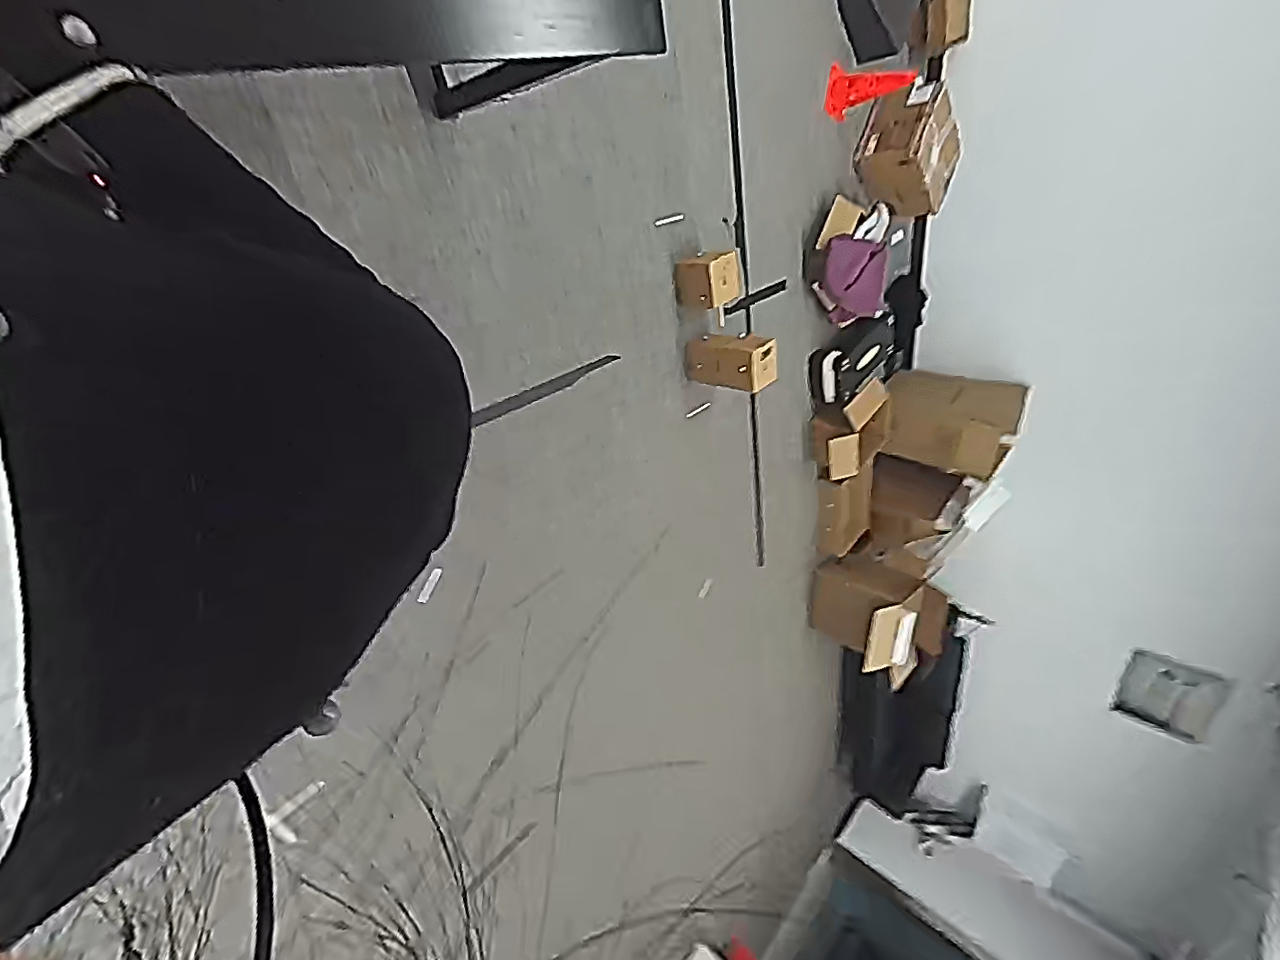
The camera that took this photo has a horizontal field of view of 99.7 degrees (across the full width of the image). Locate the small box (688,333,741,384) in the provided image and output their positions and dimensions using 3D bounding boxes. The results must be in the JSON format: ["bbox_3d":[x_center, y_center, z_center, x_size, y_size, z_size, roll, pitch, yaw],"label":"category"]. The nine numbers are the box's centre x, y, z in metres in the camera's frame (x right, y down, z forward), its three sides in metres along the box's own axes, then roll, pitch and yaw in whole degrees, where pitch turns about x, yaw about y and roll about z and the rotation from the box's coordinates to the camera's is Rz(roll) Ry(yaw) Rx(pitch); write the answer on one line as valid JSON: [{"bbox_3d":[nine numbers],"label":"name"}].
[{"bbox_3d":[0.319,-0.522,2.309,0.179,0.176,0.168,-32,127,-34],"label":"small box"}]

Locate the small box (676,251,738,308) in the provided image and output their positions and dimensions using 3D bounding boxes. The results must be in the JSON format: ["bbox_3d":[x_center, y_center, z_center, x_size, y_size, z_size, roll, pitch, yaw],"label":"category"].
[{"bbox_3d":[0.264,-0.796,2.135,0.168,0.176,0.179,-37,129,-32],"label":"small box"}]

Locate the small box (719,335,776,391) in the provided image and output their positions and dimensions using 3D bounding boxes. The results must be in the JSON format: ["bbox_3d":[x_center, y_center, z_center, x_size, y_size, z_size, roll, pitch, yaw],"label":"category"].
[{"bbox_3d":[0.436,-0.482,2.198,0.168,0.176,0.179,-34,129,-34],"label":"small box"}]
